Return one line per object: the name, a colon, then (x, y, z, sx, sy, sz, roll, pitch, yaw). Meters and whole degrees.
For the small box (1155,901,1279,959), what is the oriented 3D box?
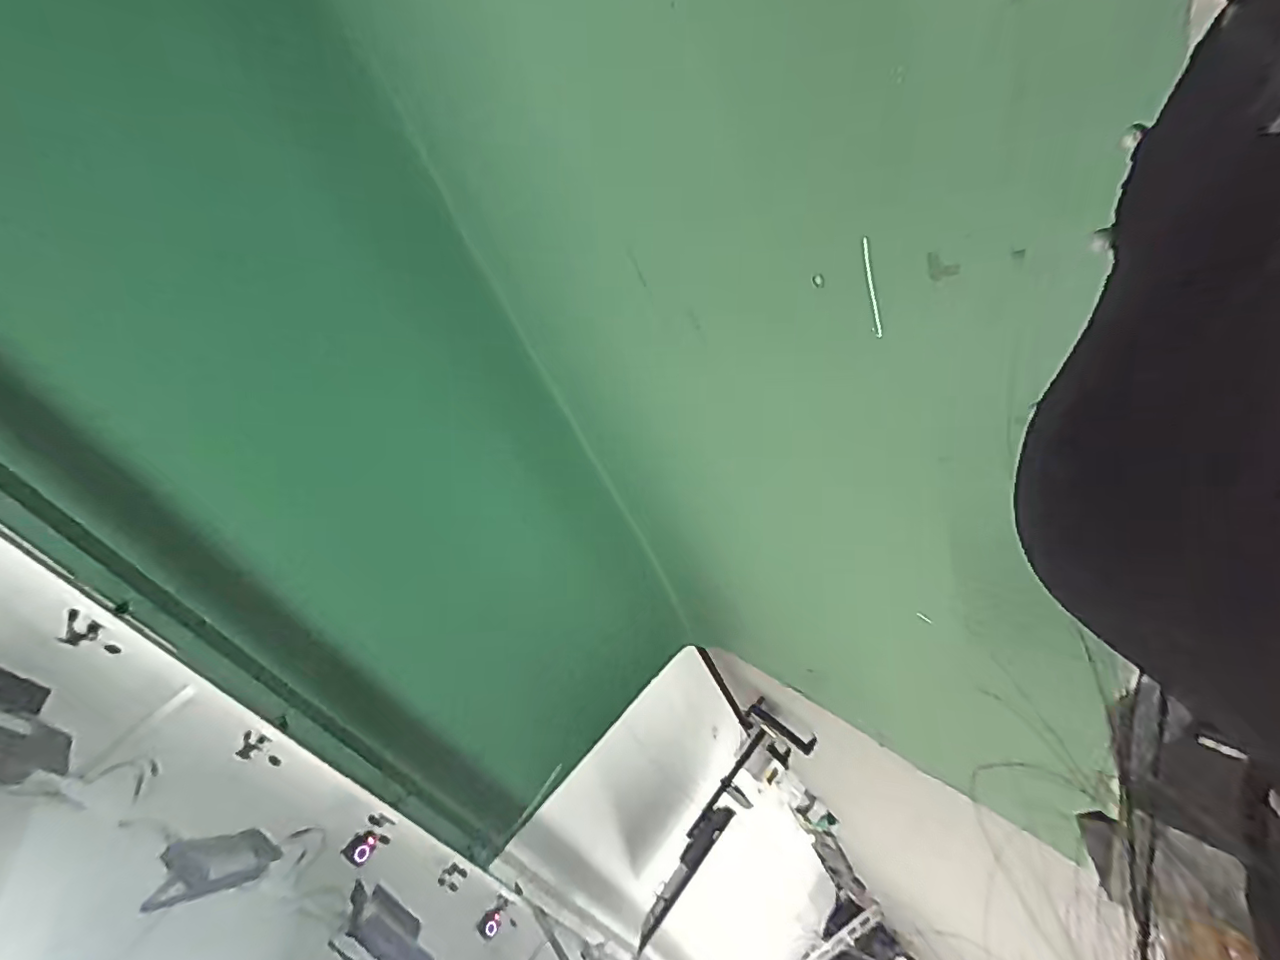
small box: (1.289, 1.107, 1.214, 0.168, 0.176, 0.179, 20, 144, 47)
